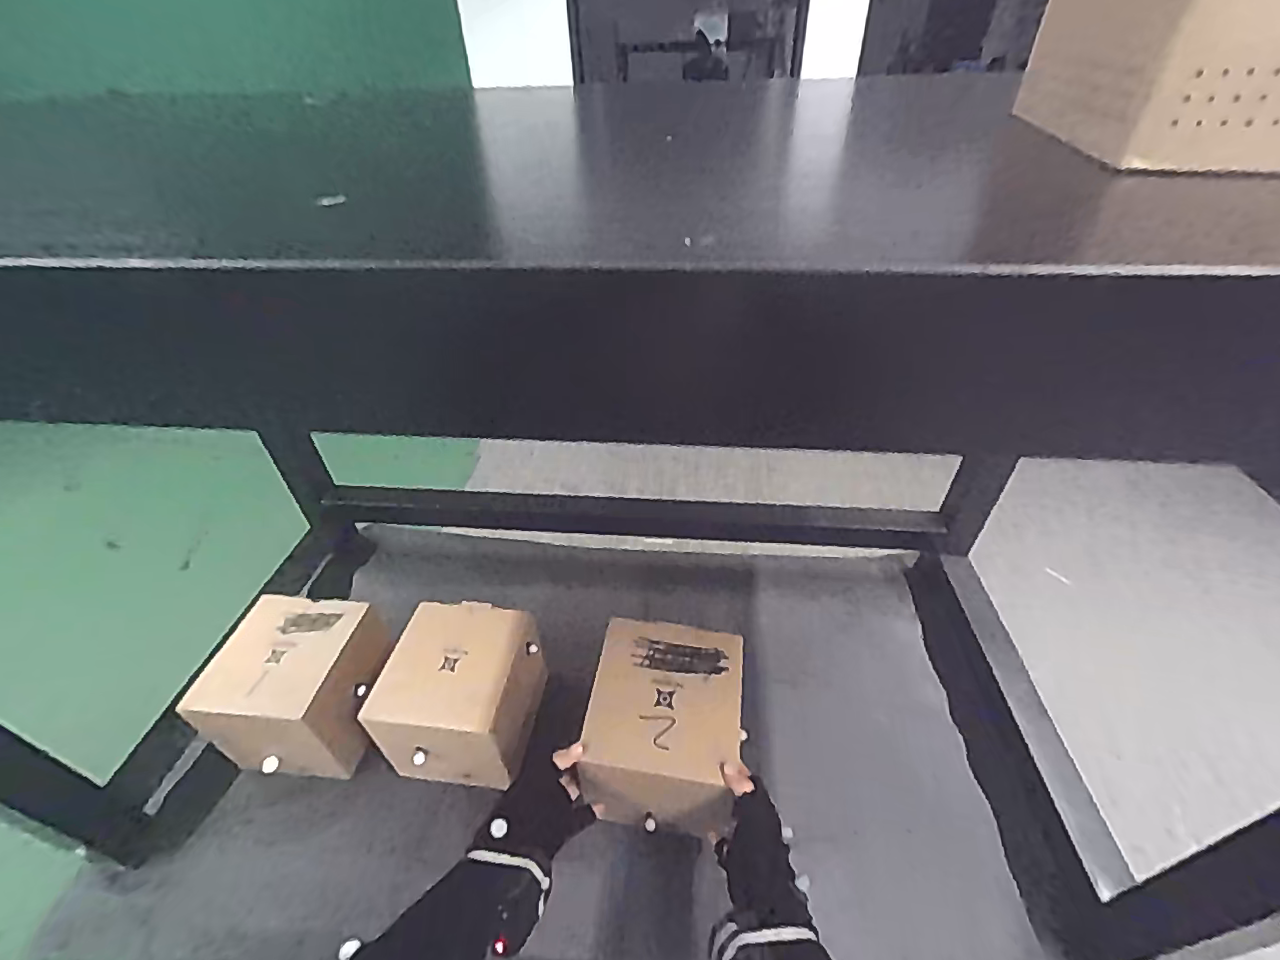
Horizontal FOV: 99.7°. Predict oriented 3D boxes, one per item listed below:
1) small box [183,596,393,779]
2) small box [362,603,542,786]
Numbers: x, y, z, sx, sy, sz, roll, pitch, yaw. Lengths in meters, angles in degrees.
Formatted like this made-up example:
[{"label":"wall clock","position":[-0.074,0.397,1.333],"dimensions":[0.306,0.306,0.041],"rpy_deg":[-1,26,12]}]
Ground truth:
[{"label":"small box","position":[-0.469,0.290,0.766],"dimensions":[0.168,0.176,0.179],"rpy_deg":[3,39,5]},{"label":"small box","position":[-0.242,0.298,0.752],"dimensions":[0.168,0.176,0.179],"rpy_deg":[4,39,6]}]
